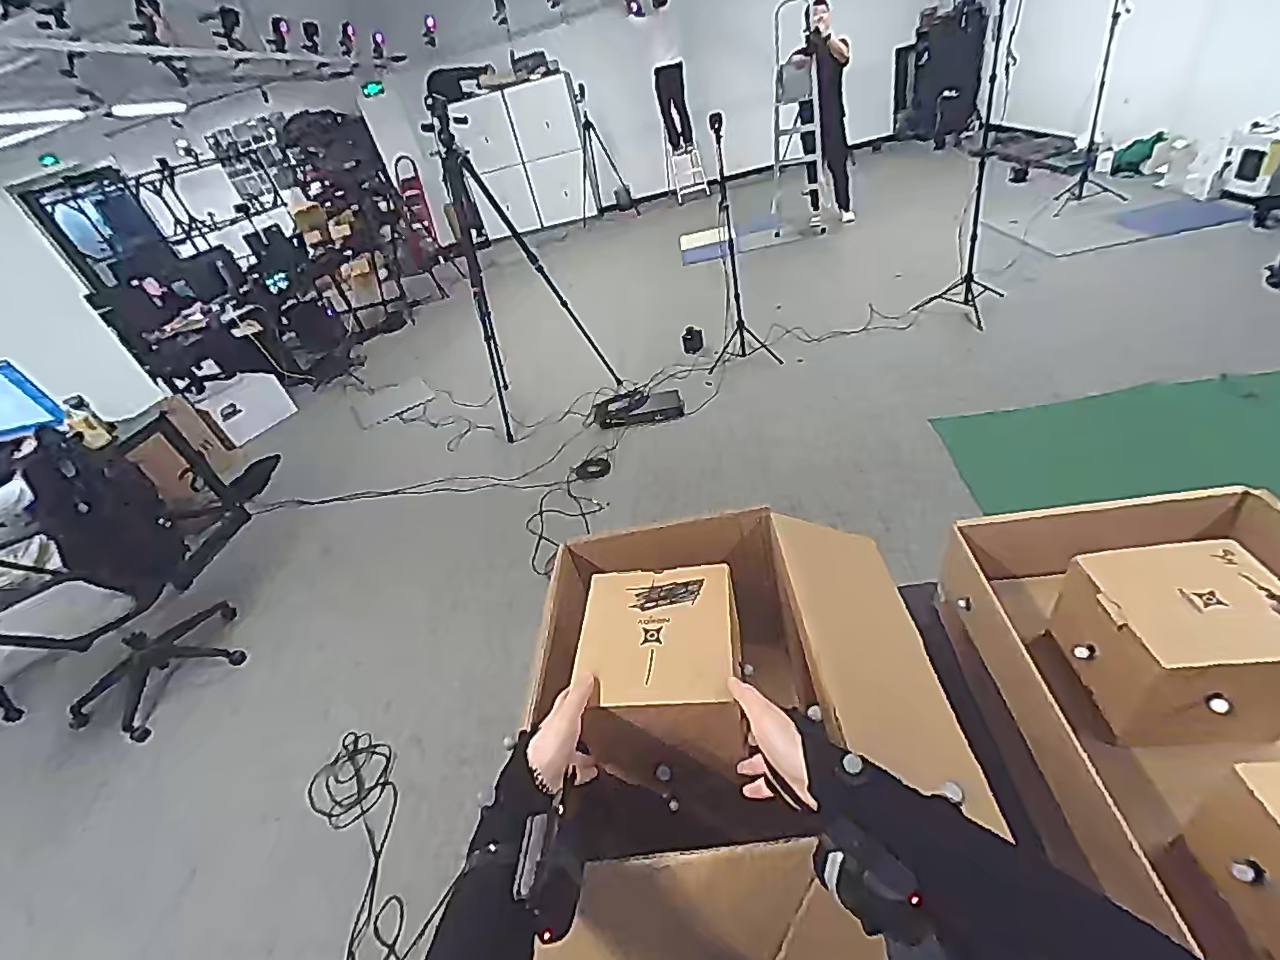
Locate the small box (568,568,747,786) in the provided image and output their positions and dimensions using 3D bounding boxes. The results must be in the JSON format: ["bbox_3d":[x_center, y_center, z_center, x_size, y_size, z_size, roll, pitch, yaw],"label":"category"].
[{"bbox_3d":[0.031,0.226,0.627,0.168,0.176,0.179,-7,38,12],"label":"small box"}]
